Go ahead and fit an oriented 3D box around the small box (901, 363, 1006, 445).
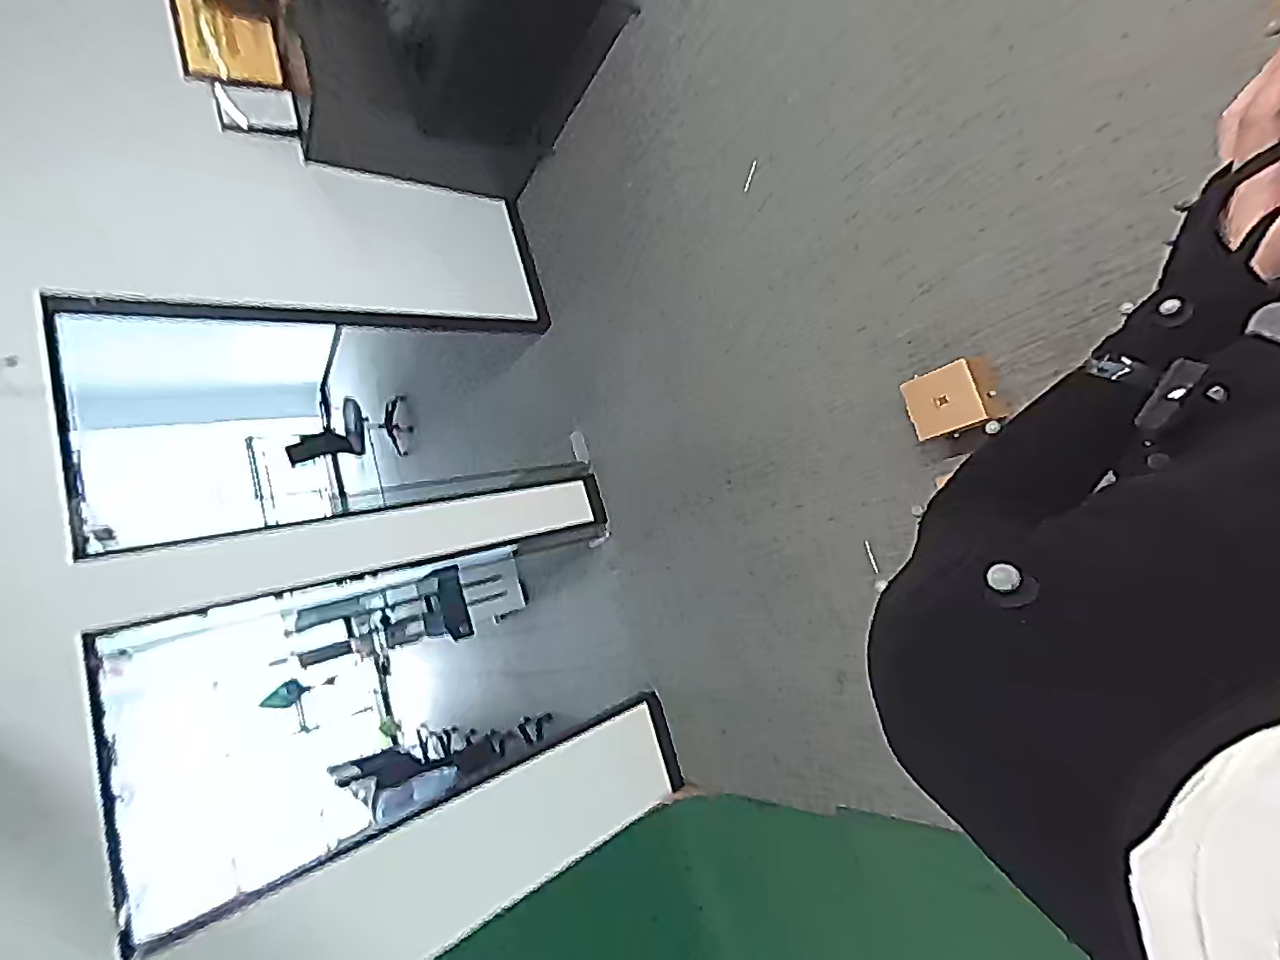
[{"bbox_3d":[0.848,-0.207,1.452,0.179,0.176,0.168,-28,76,51],"label":"small box"}]
